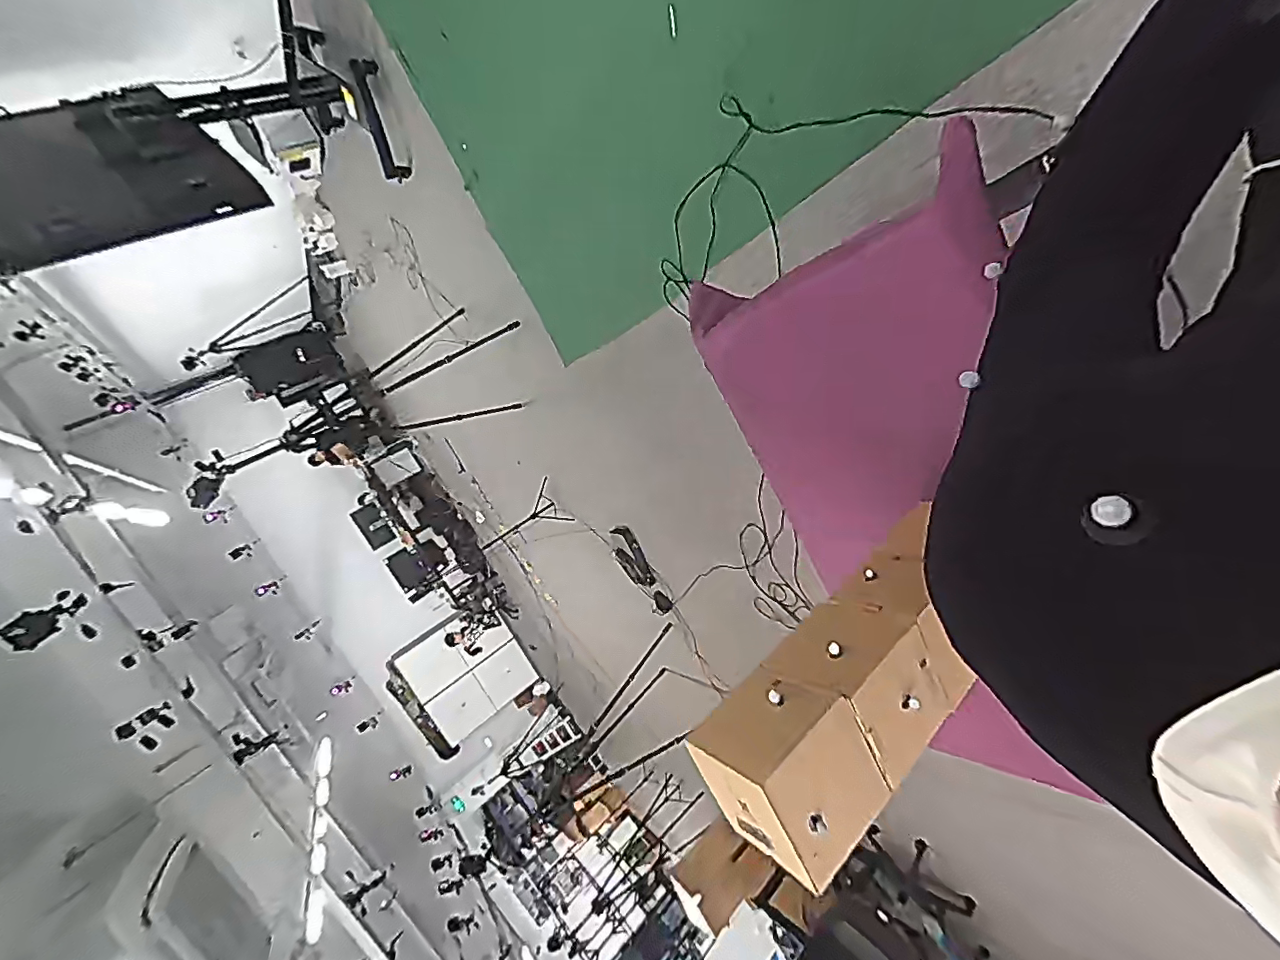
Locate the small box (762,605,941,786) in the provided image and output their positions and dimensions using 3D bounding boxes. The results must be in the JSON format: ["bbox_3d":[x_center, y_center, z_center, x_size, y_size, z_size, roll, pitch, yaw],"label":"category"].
[{"bbox_3d":[0.325,0.310,0.821,0.179,0.176,0.168,-5,114,59],"label":"small box"}]

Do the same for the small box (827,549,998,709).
[{"bbox_3d":[0.449,0.231,0.891,0.168,0.176,0.179,-5,115,59],"label":"small box"}]

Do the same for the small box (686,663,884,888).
[{"bbox_3d":[0.201,0.389,0.747,0.168,0.176,0.179,-8,111,61],"label":"small box"}]
